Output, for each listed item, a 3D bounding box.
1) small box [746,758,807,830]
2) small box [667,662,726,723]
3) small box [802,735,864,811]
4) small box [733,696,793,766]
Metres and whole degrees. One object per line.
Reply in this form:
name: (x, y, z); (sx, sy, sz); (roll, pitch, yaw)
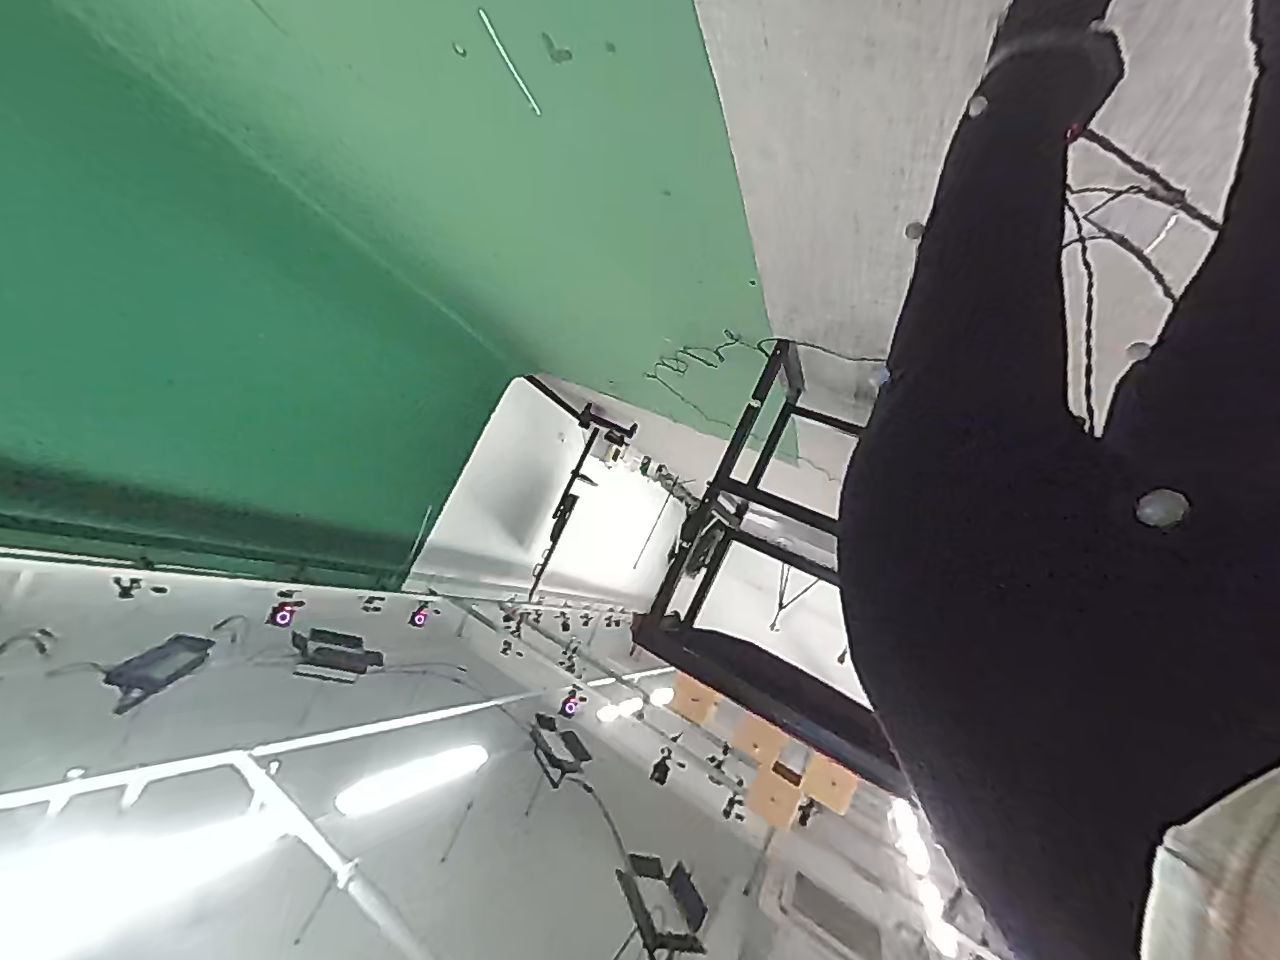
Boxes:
small box: (0.527, 1.169, 2.047); (0.179, 0.176, 0.168); (22, 175, 27)
small box: (0.240, 0.871, 2.230); (0.179, 0.176, 0.168); (22, 173, 25)
small box: (0.713, 1.069, 1.989); (0.168, 0.176, 0.179); (23, 176, 26)
small box: (0.485, 0.973, 2.109); (0.179, 0.176, 0.168); (23, 175, 24)
